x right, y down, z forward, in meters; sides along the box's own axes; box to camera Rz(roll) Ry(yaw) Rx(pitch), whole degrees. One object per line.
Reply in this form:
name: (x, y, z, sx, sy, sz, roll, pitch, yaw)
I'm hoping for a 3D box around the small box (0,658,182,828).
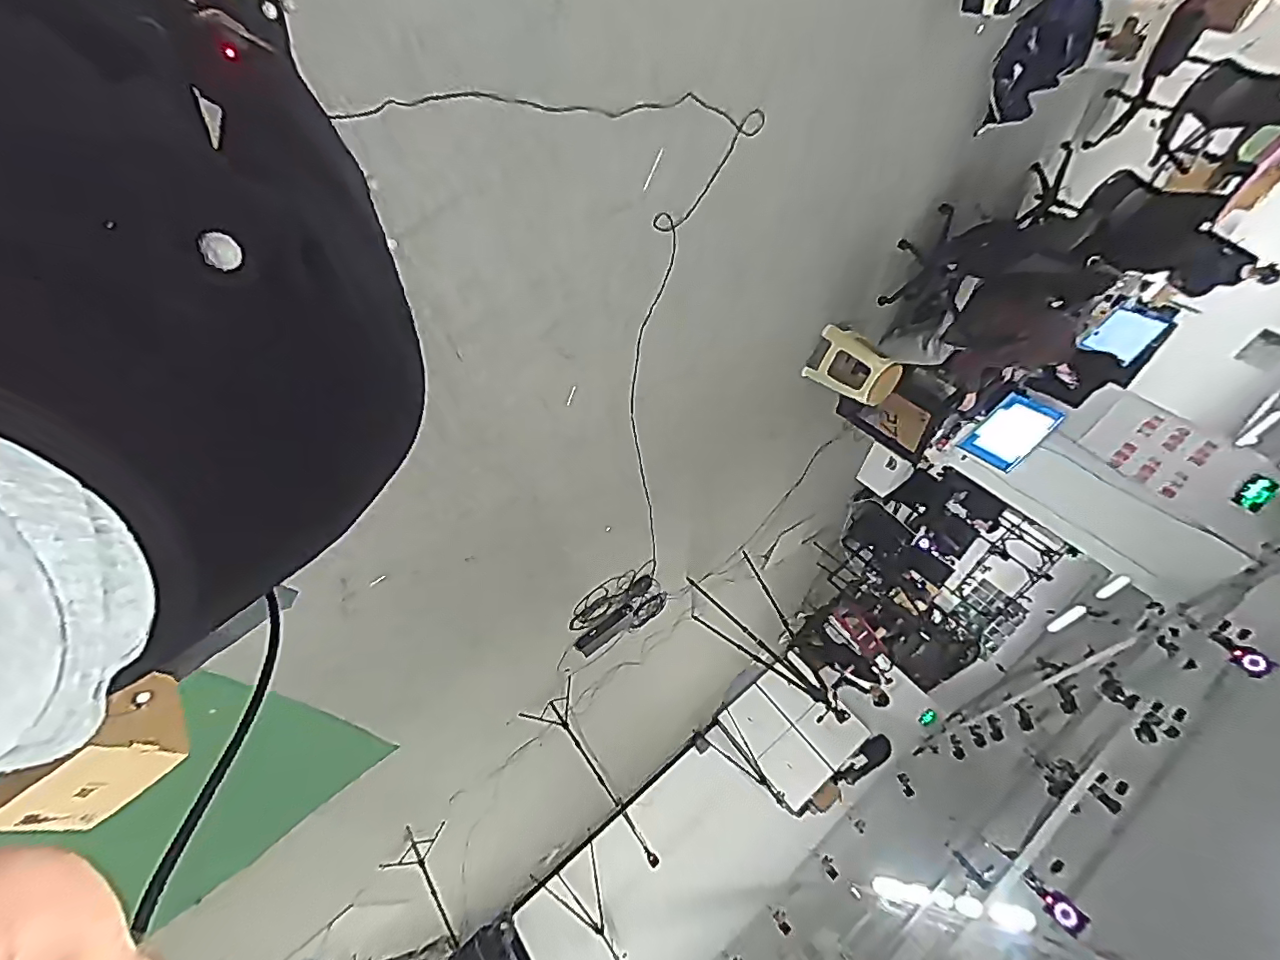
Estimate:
small box: (-0.900, 0.415, 0.862, 0.179, 0.176, 0.168, -39, 149, -13)
